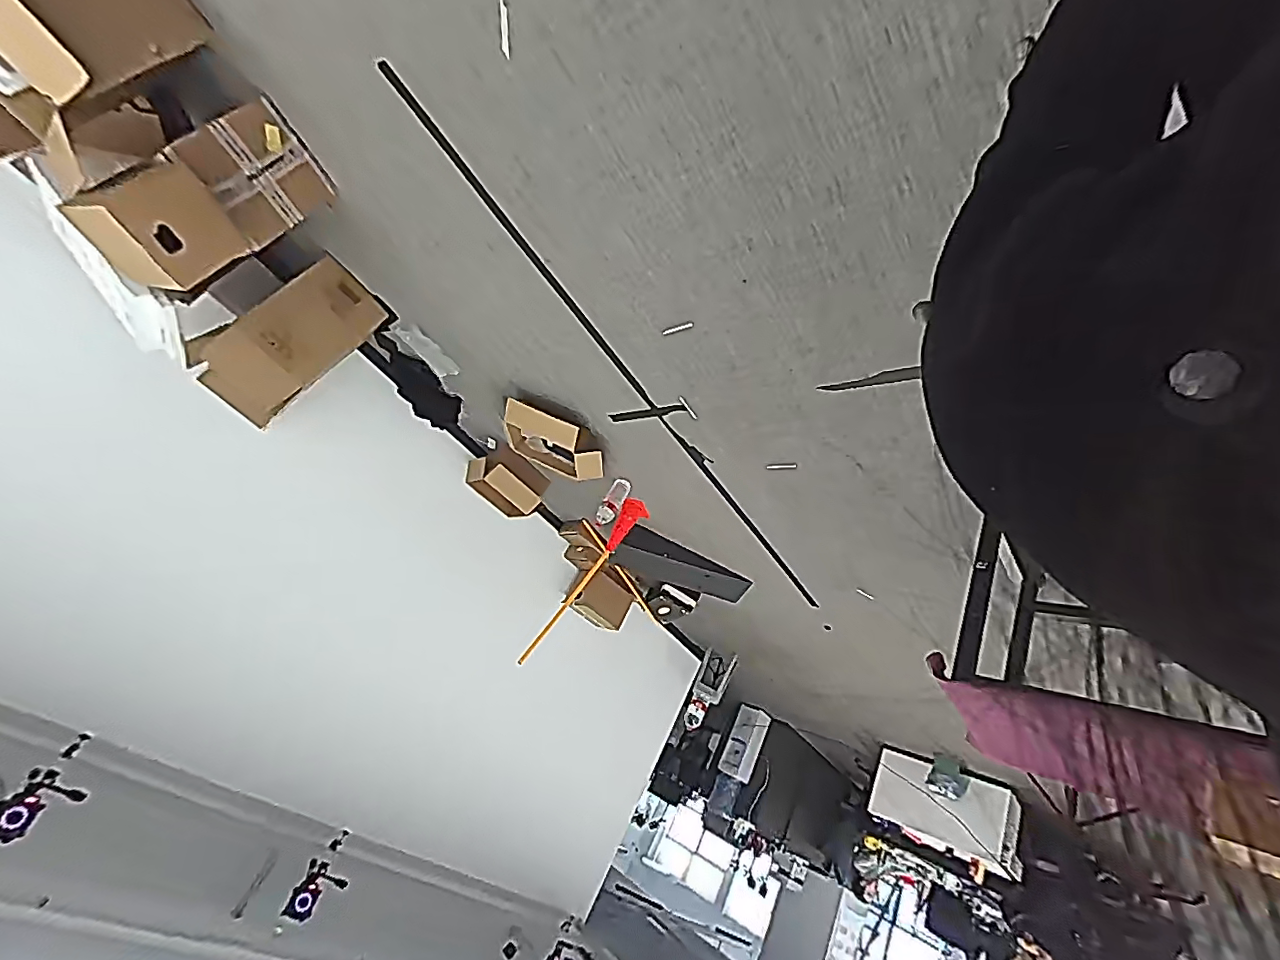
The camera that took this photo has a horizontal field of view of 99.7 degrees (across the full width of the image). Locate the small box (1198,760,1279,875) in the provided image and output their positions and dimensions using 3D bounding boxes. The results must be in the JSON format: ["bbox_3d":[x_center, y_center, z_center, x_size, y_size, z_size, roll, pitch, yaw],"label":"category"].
[{"bbox_3d":[1.422,0.787,1.257,0.168,0.176,0.179,-1,140,44],"label":"small box"}]
